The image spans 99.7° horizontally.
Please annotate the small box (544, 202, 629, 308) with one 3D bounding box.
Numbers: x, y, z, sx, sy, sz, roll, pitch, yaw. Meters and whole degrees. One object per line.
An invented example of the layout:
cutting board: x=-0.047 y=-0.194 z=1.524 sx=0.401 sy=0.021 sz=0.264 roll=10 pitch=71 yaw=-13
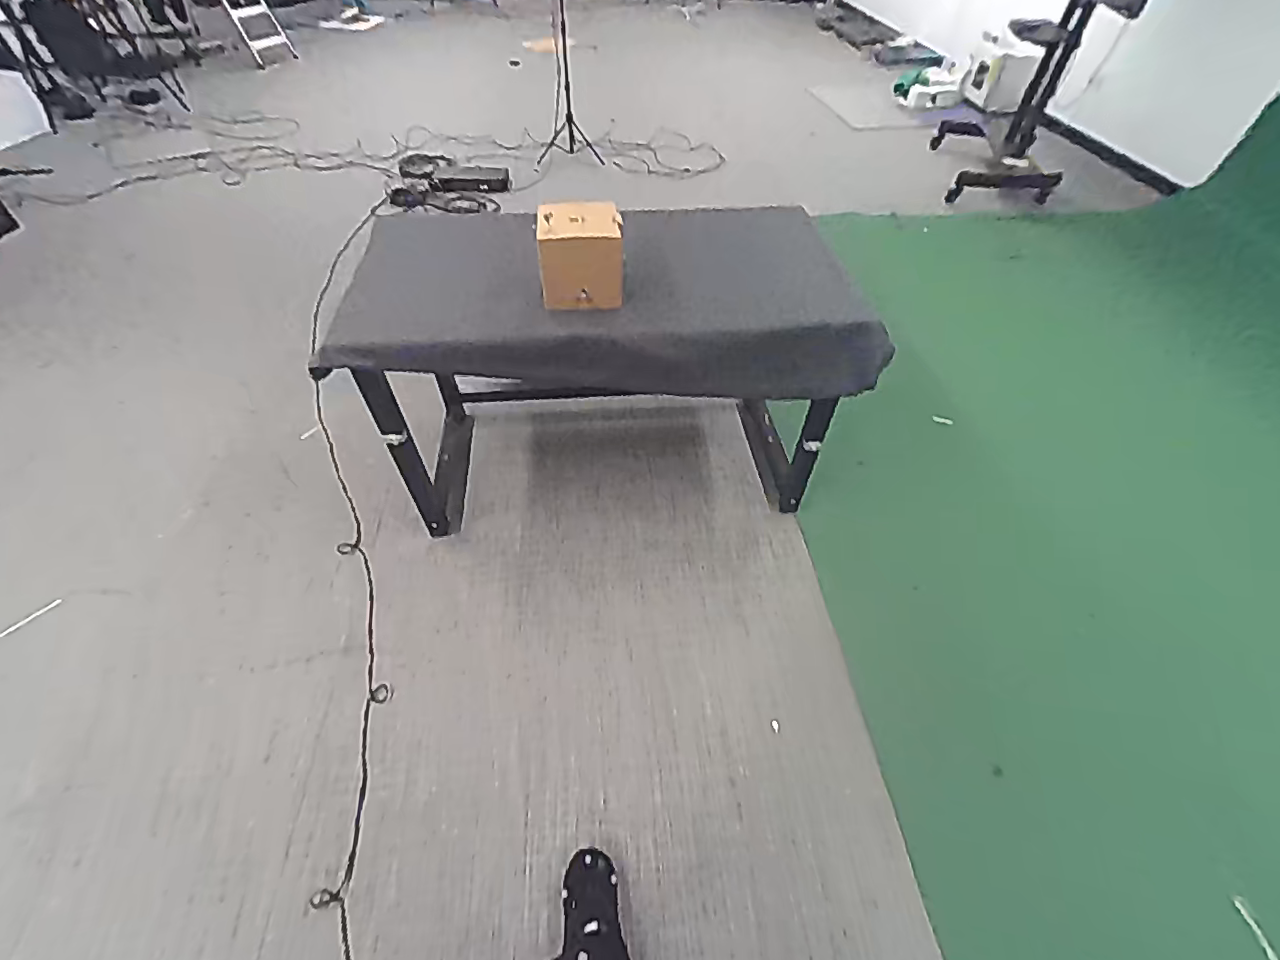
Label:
small box: x=-0.118 y=-0.503 z=1.218 sx=0.179 sy=0.176 sz=0.168 roll=-3 pitch=49 yaw=-4
